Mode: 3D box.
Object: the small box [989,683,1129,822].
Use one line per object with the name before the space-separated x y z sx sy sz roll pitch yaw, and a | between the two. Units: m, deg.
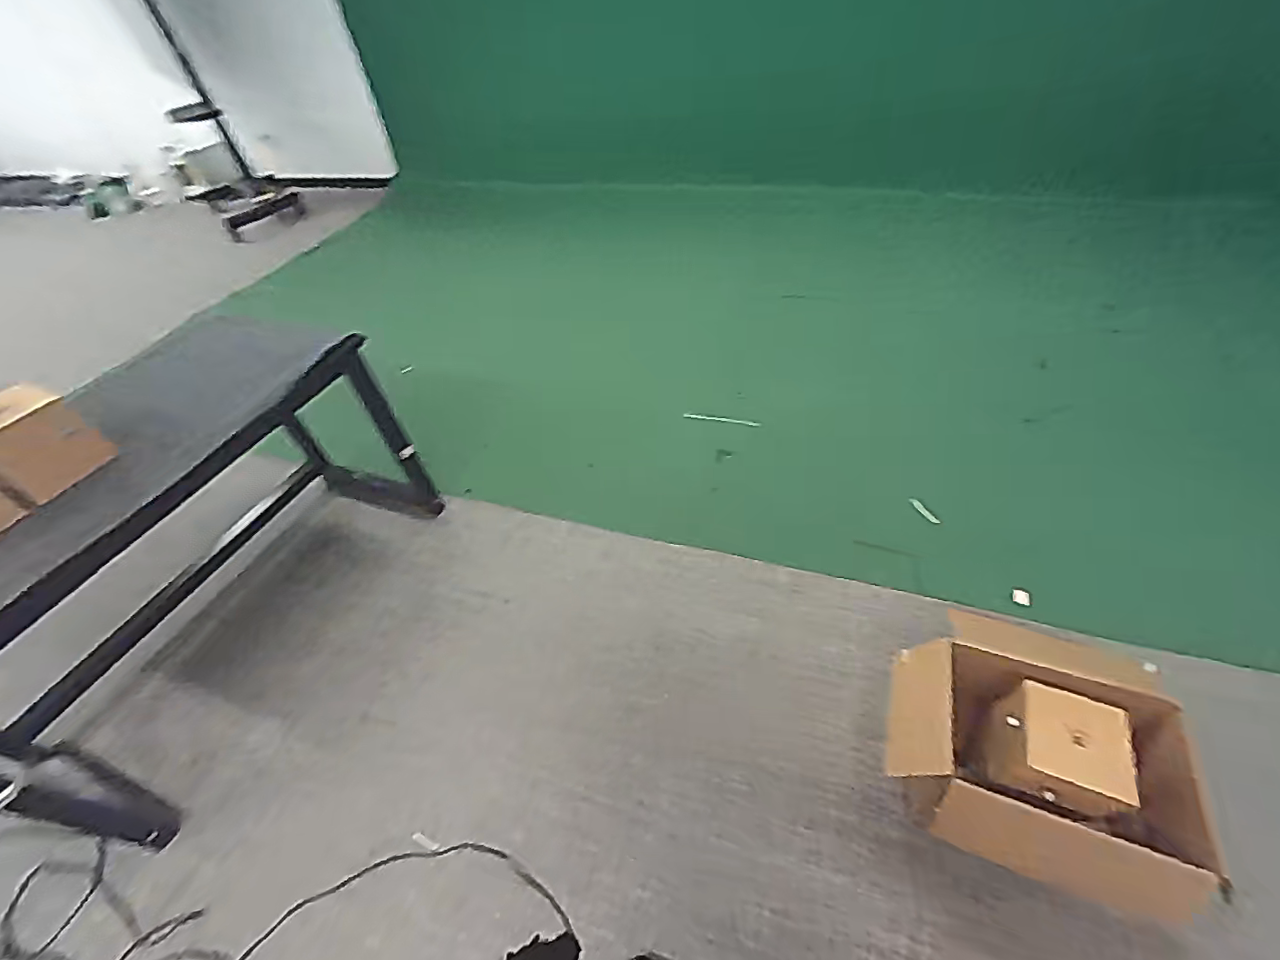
small box | 0.815 0.542 1.070 0.168 0.176 0.179 15 50 19
